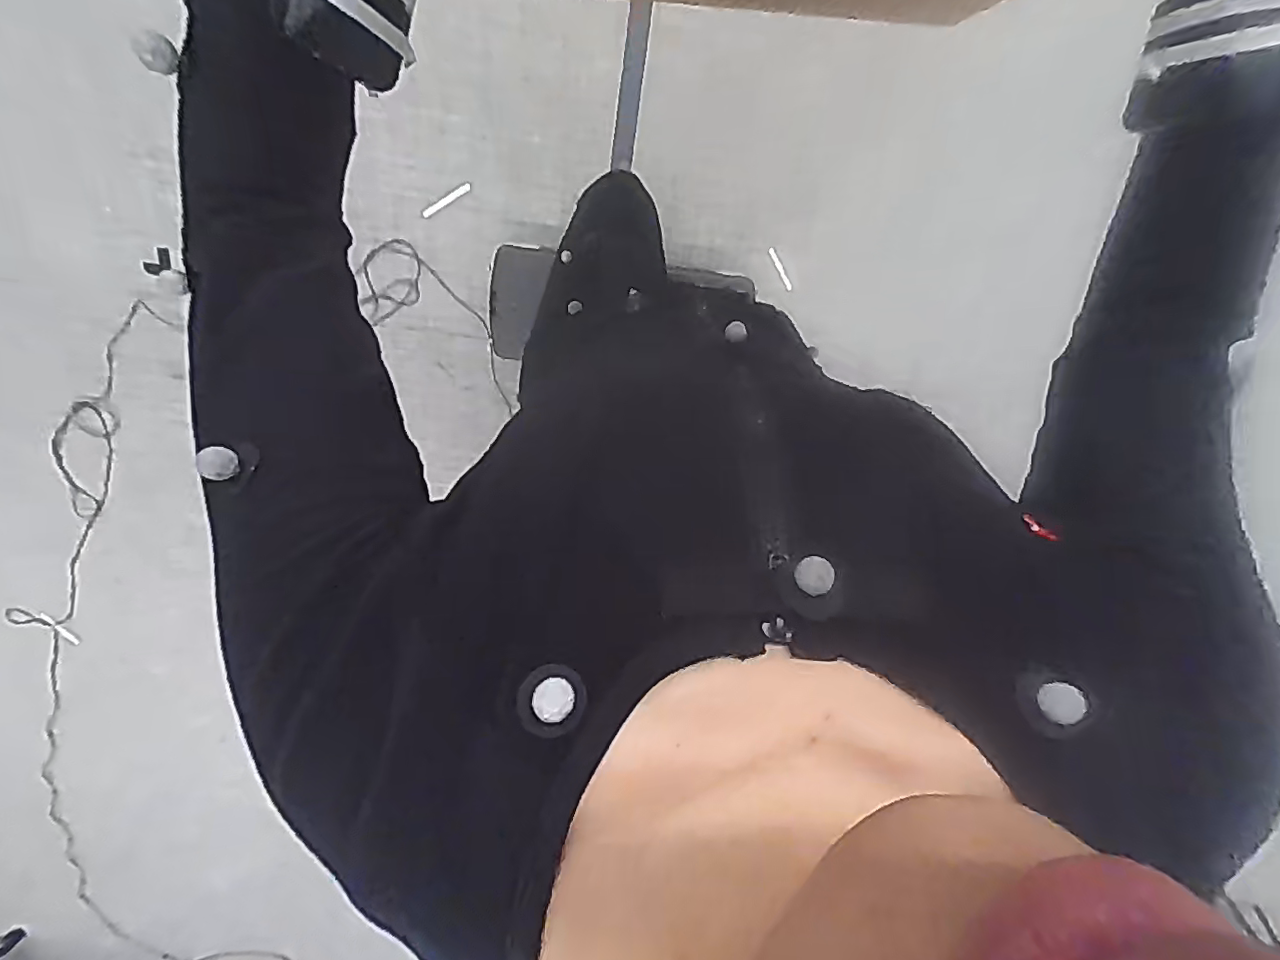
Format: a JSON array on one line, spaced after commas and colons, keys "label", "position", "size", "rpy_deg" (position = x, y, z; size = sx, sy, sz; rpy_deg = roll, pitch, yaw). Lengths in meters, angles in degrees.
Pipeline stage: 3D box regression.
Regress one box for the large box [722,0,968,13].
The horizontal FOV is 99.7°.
[{"label": "large box", "position": [0.106, -0.516, 0.311], "size": [0.408, 0.320, 0.320], "rpy_deg": [3, 120, -2]}]
